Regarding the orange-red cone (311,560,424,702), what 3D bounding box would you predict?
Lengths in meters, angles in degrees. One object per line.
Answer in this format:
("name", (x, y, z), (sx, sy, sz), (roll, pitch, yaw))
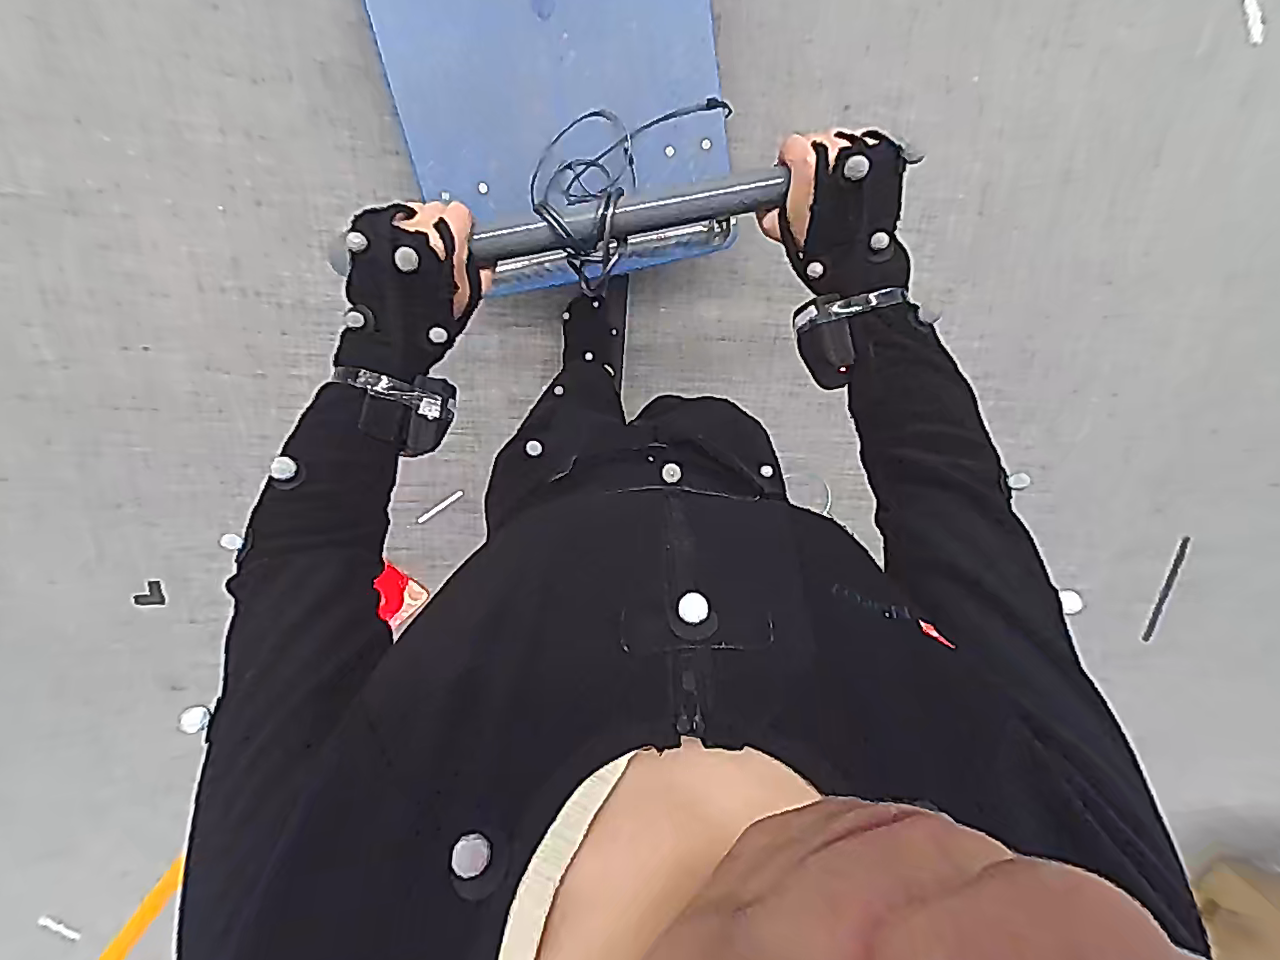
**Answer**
("orange-red cone", (-0.669, 0.373, 1.247), (0.199, 0.360, 0.198), (-41, 110, 6))
